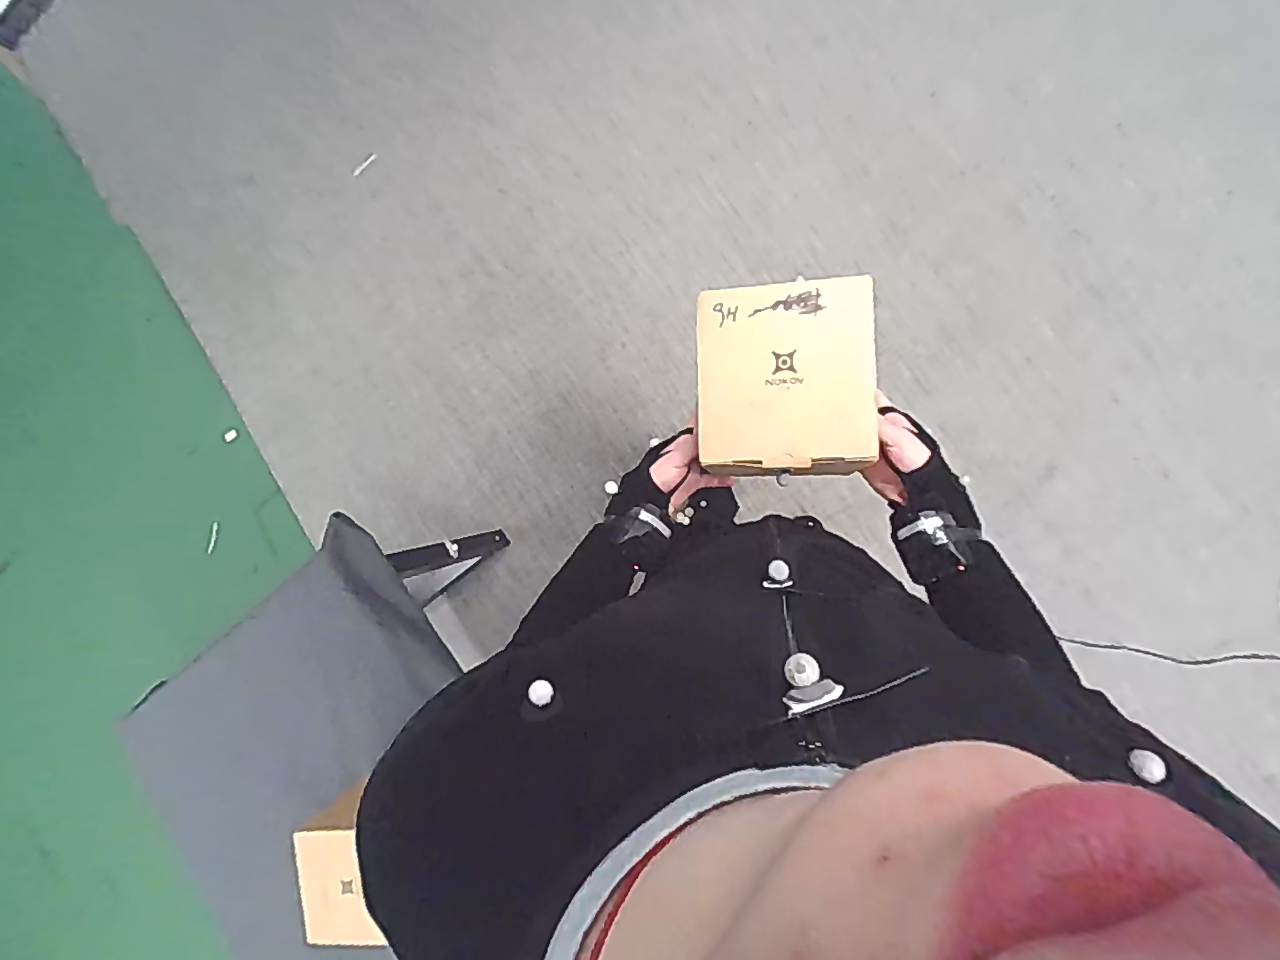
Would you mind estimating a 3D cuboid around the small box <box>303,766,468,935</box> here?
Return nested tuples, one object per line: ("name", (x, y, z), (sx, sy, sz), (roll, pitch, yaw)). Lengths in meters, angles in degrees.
("small box", (-0.397, 0.587, 0.876), (0.179, 0.176, 0.168), (-10, 87, 14))

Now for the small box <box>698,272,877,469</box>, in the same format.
("small box", (0.154, -0.102, 0.589), (0.168, 0.176, 0.179), (-1, 87, 12))
